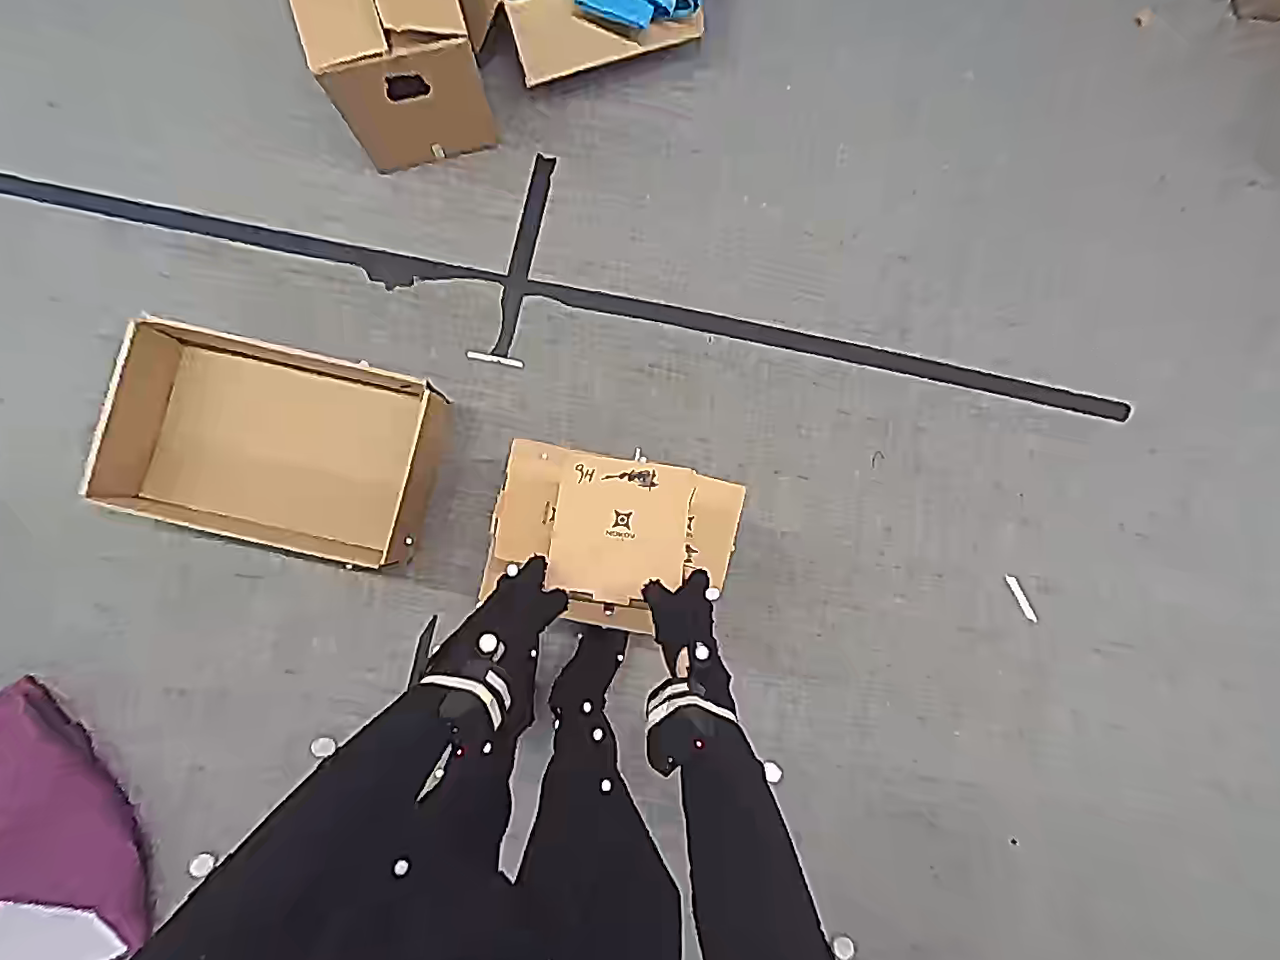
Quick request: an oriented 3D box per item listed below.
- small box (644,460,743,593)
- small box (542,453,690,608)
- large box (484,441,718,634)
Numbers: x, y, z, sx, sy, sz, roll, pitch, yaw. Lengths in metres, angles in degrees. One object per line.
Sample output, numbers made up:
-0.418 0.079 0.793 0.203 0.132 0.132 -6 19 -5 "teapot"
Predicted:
0.061 0.080 0.930 0.168 0.176 0.179 16 84 -2 "small box"
-0.031 0.079 0.747 0.168 0.176 0.179 8 75 -2 "small box"
-0.083 0.119 1.163 0.408 0.320 0.320 11 86 -4 "large box"
